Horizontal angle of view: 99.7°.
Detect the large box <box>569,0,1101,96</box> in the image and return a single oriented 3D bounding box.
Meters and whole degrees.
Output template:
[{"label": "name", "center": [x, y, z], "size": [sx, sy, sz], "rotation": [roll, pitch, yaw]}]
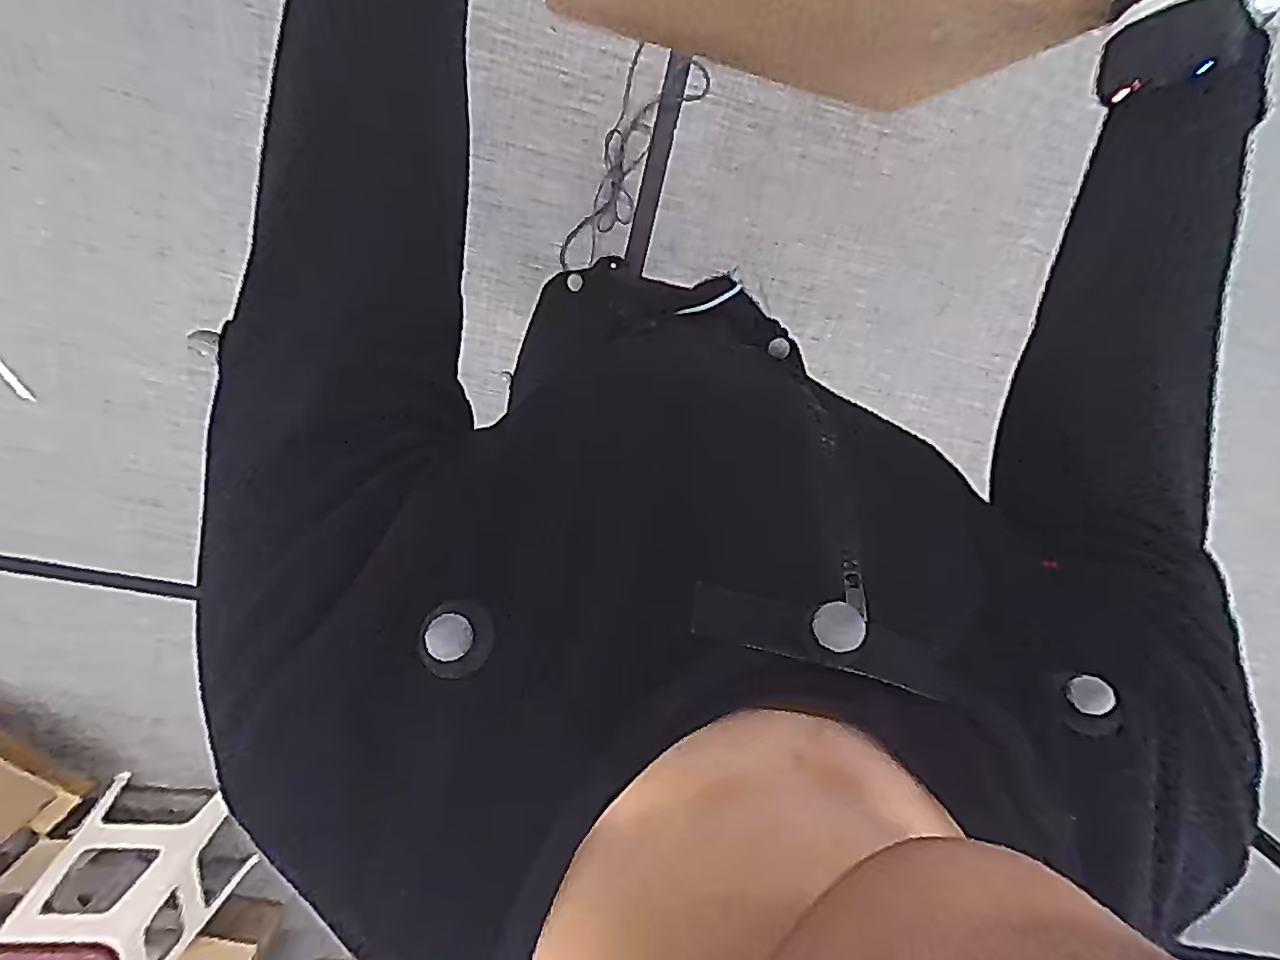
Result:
[{"label": "large box", "center": [0.143, -0.549, 0.408], "size": [0.408, 0.320, 0.320], "rotation": [11, 115, -9]}]
